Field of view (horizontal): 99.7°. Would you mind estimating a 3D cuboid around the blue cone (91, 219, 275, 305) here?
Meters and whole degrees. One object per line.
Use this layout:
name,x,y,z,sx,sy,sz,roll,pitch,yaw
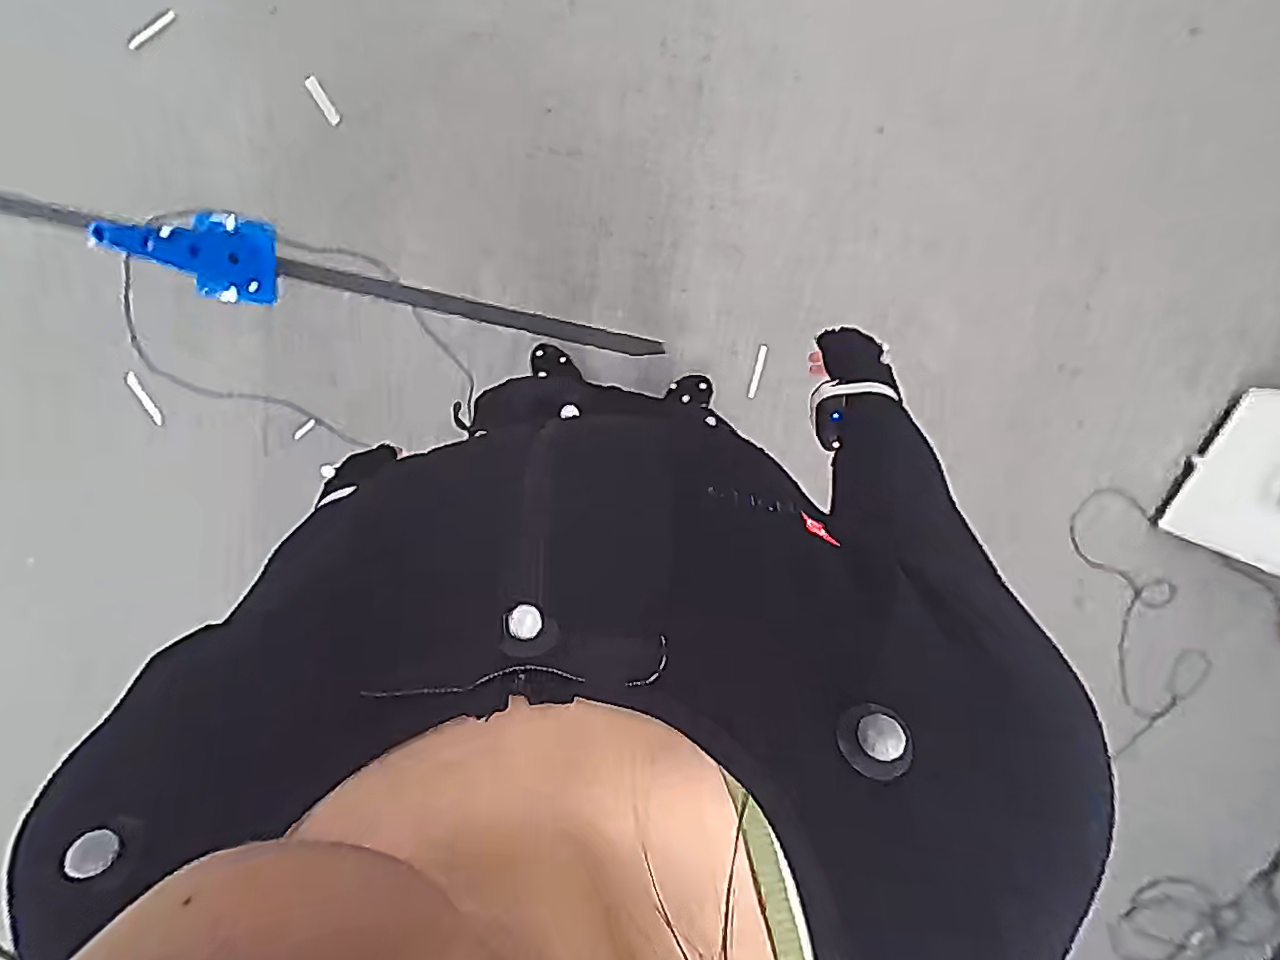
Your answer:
blue cone,-0.997,-0.494,1.171,0.193,0.380,0.192,6,104,-2
